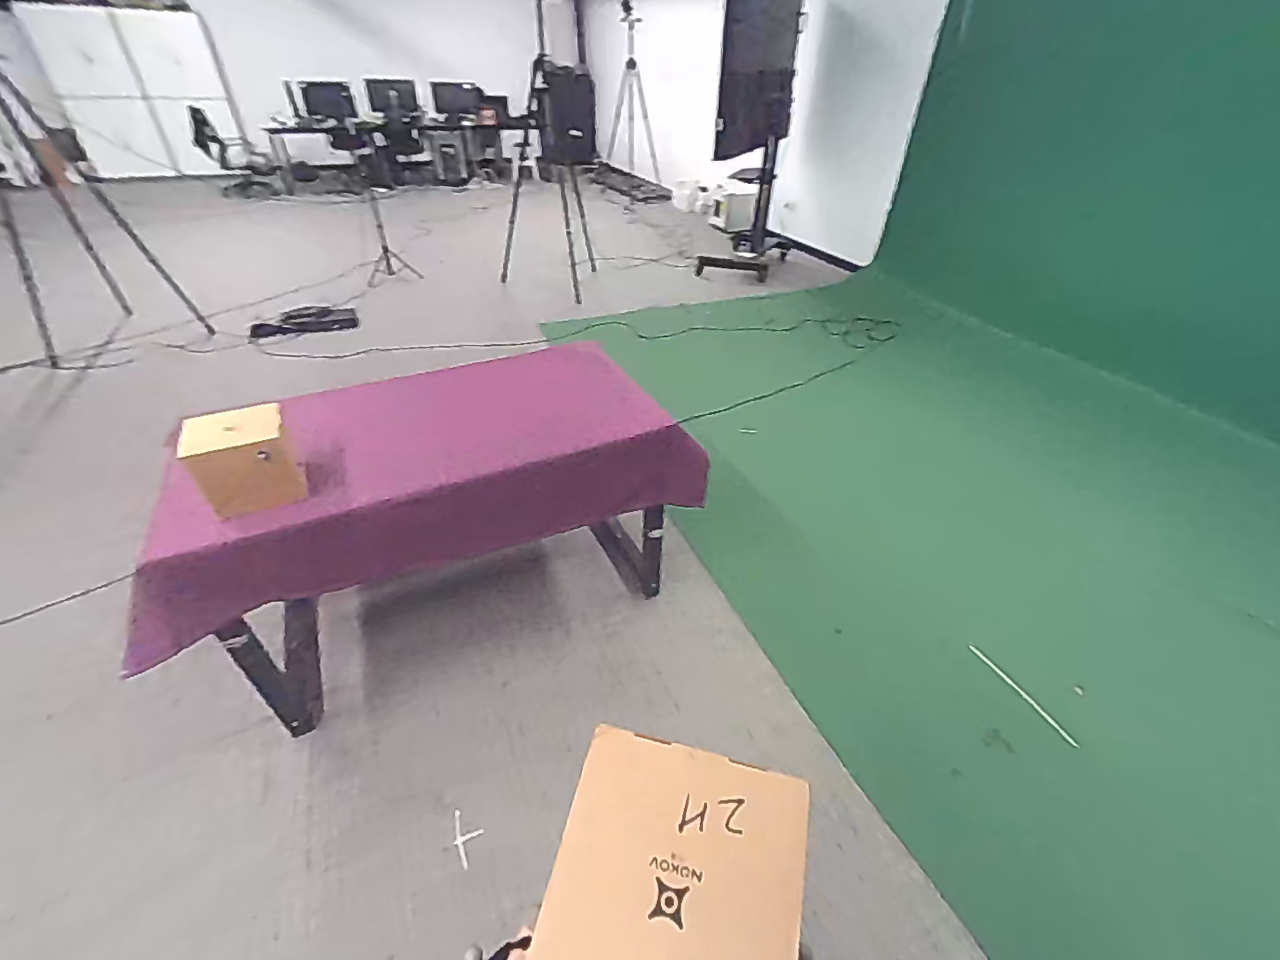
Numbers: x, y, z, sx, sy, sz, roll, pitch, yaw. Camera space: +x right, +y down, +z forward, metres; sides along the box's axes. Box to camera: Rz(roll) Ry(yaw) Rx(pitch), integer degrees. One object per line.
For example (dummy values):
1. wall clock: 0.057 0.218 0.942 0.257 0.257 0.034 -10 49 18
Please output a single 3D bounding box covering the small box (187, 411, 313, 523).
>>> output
1. small box: -0.850 -0.028 1.196 0.179 0.176 0.168 -17 40 -23
